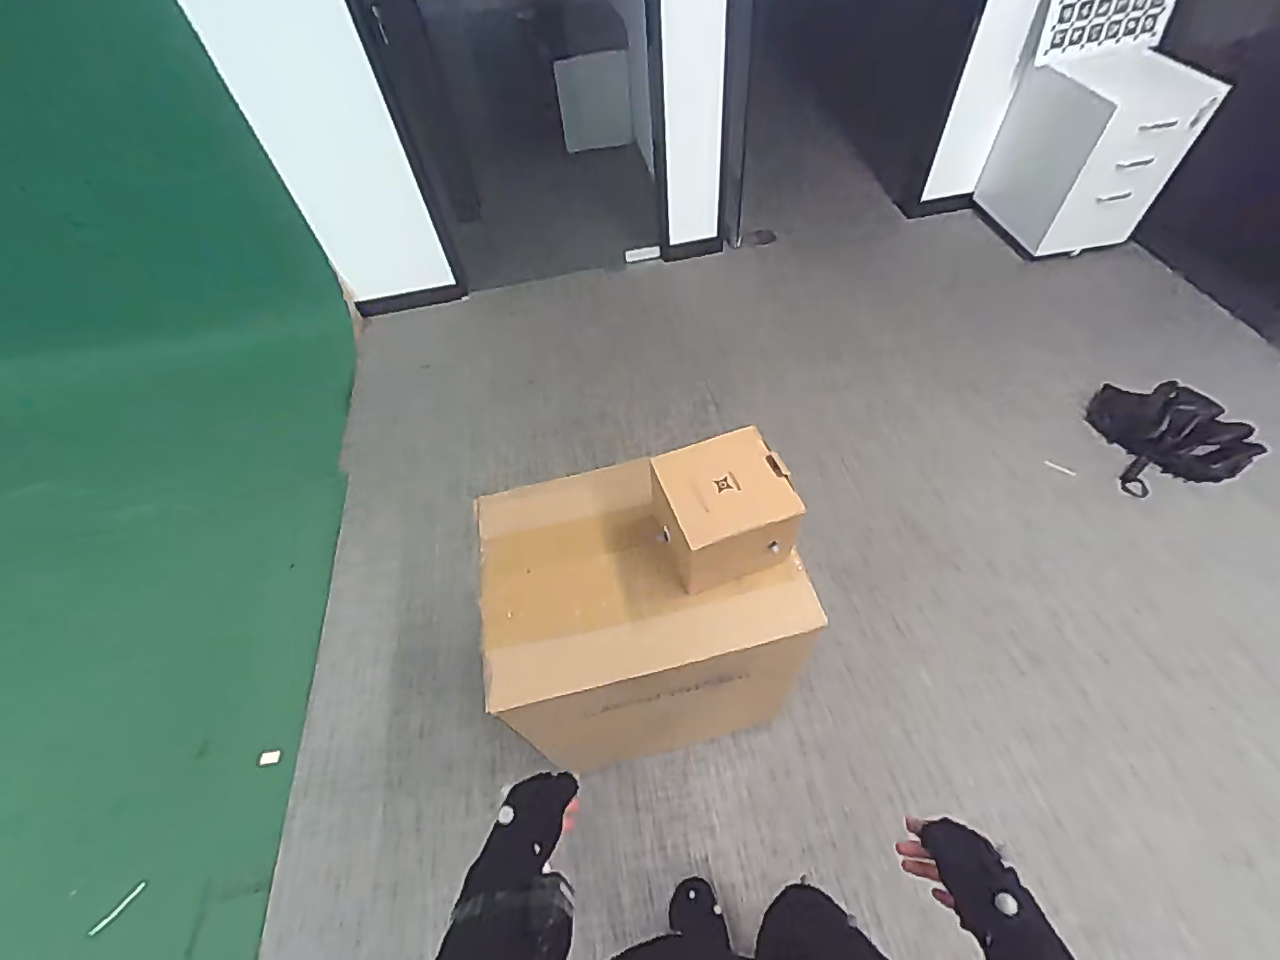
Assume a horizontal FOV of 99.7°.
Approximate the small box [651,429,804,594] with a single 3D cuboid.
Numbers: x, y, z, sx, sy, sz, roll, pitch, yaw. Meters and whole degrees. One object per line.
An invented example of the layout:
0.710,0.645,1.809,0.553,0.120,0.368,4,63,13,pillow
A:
0.128,0.054,0.850,0.179,0.176,0.168,-20,57,-7,small box
